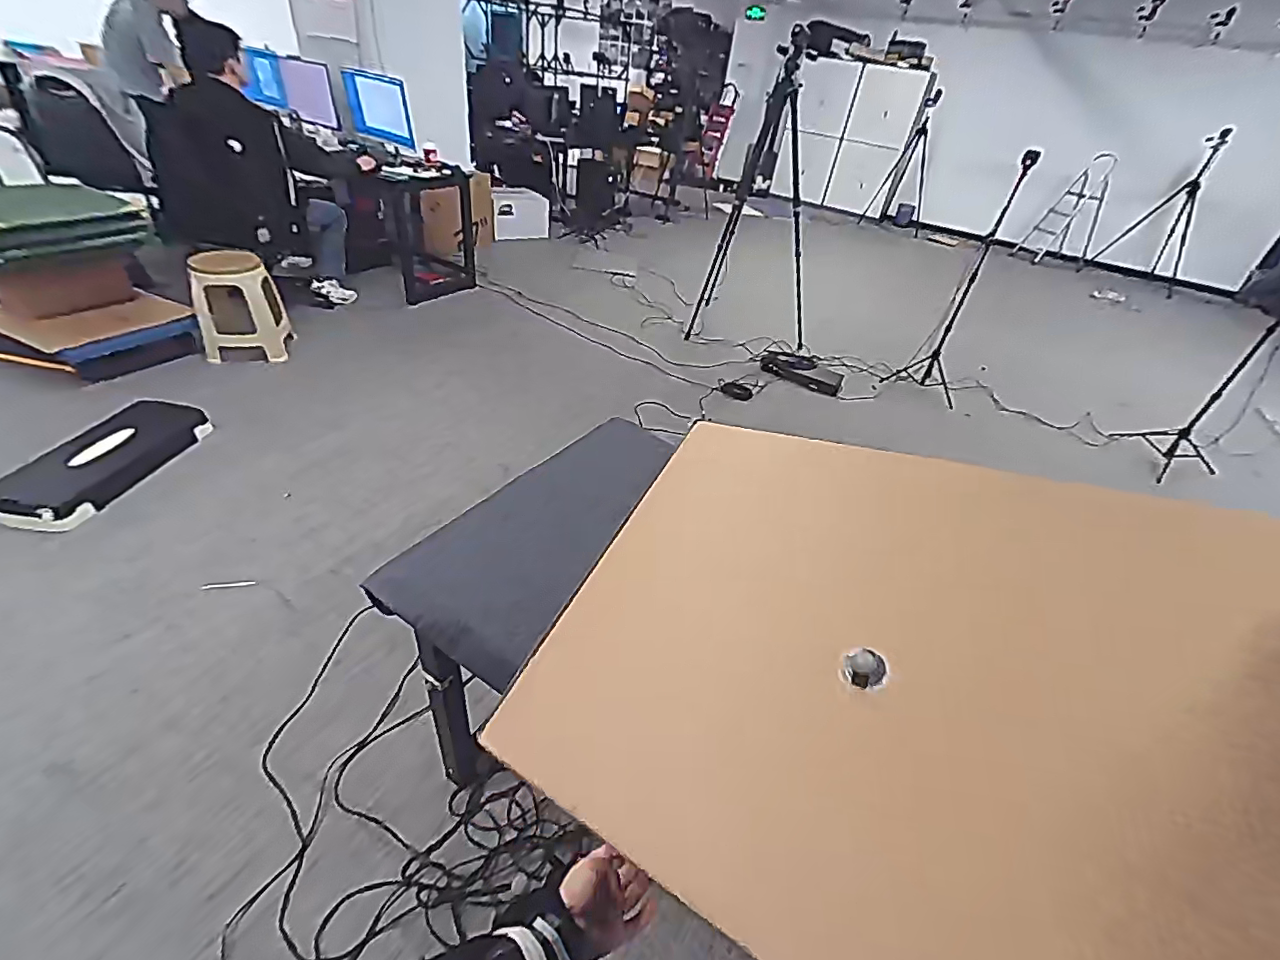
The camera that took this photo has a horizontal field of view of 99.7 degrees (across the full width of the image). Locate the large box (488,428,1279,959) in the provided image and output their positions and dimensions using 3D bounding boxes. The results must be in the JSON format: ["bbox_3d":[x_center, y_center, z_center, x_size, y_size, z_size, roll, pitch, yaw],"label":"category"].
[{"bbox_3d":[0.178,0.199,0.412,0.408,0.320,0.320,13,56,34],"label":"large box"}]
